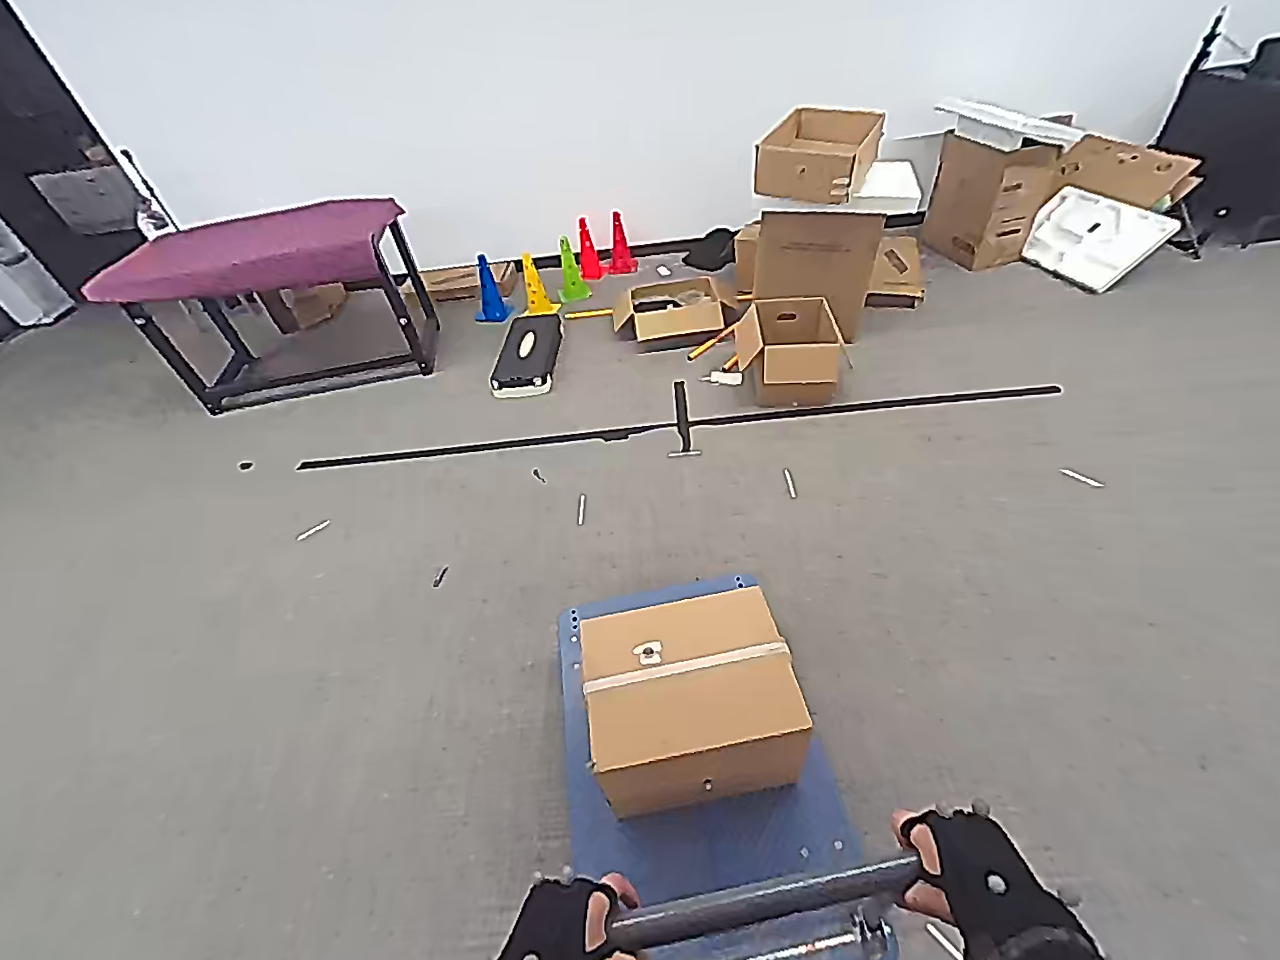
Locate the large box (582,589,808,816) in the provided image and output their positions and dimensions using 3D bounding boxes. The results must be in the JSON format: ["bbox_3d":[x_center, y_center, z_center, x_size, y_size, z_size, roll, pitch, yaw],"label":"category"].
[{"bbox_3d":[0.111,0.492,1.194,0.408,0.320,0.320,-12,43,-2],"label":"large box"}]
